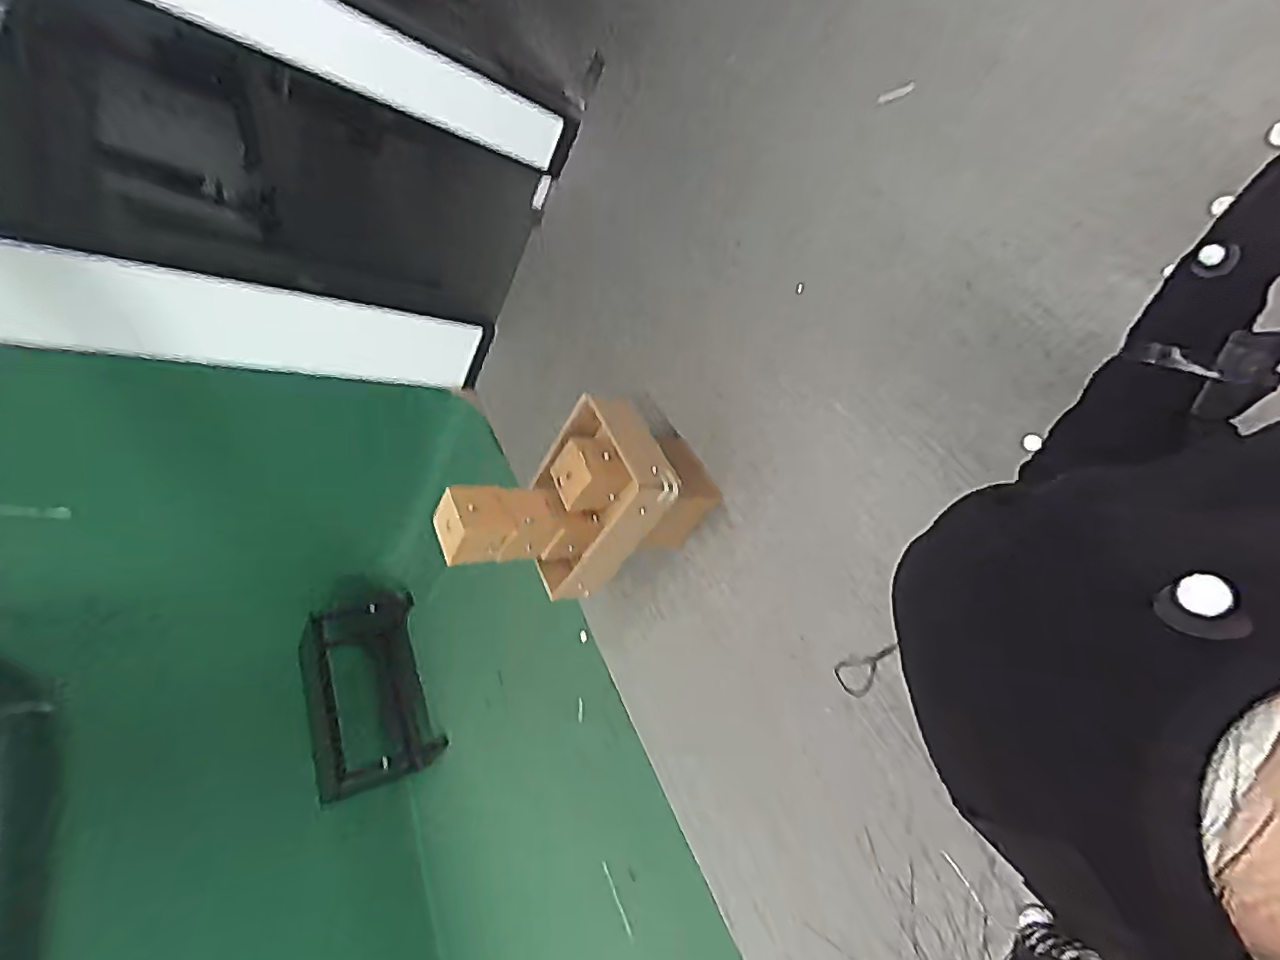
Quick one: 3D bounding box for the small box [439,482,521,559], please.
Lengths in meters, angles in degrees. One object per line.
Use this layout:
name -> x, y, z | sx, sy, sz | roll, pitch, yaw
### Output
small box -> -0.495, 0.123, 1.672 | 0.168, 0.176, 0.179 | -54, 53, 34
